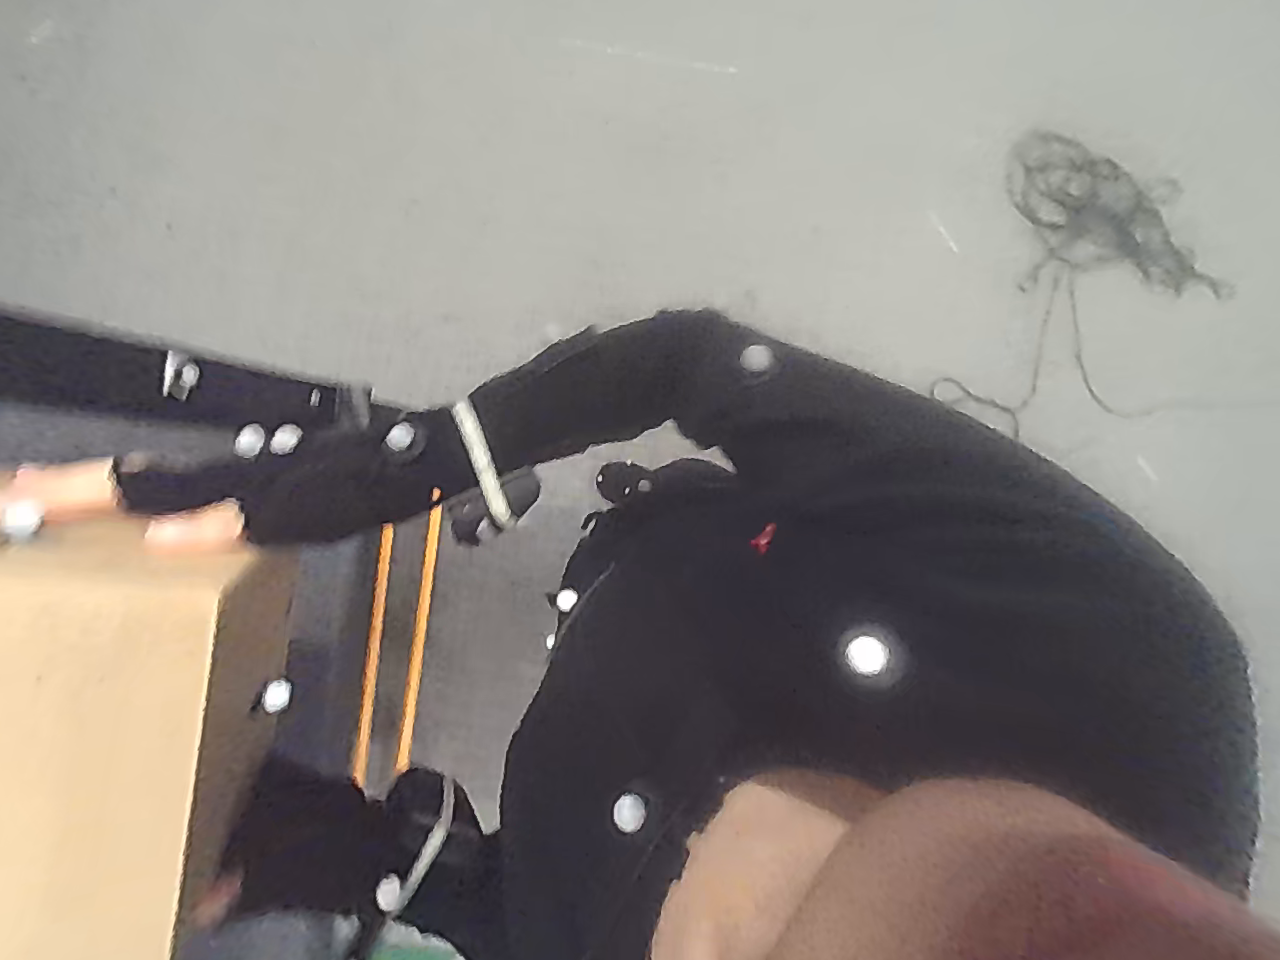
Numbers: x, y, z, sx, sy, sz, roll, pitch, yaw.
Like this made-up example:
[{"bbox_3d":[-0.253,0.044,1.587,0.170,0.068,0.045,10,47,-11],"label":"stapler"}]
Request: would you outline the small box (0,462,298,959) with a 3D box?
[{"bbox_3d":[-0.284,0.089,0.252,0.179,0.176,0.168,10,94,-21],"label":"small box"}]
